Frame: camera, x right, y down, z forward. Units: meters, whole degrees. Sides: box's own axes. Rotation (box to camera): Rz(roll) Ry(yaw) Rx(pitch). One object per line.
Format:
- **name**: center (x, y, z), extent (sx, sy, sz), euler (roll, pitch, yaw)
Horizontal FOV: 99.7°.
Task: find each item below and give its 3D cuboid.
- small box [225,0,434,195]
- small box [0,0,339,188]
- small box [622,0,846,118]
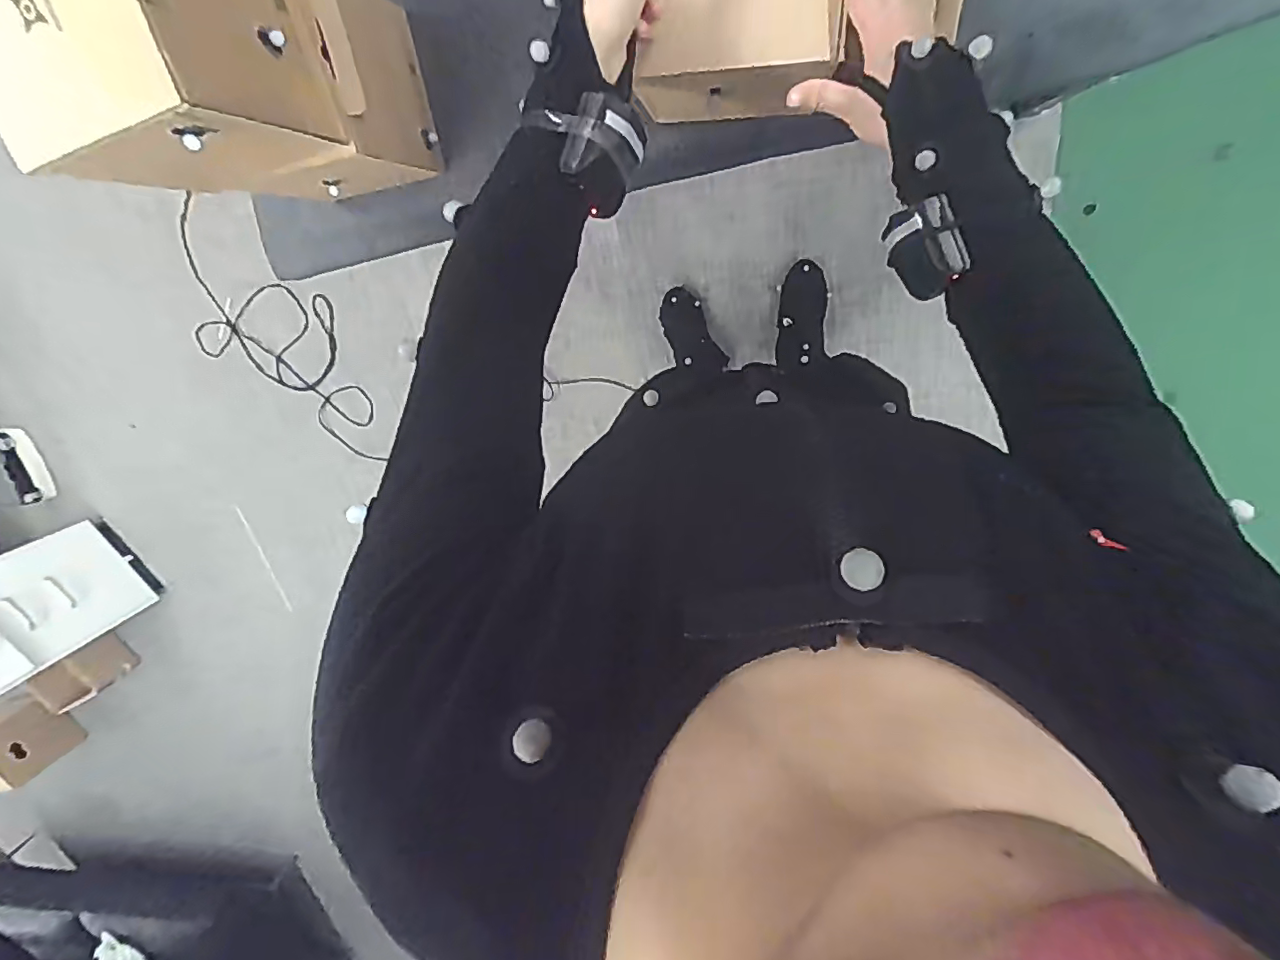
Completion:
- **small box**: center (-0.350, -0.418, 0.585), extent (0.179, 0.176, 0.168), euler (-4, 113, 15)
- **small box**: center (-0.398, -0.355, 0.443), extent (0.179, 0.176, 0.168), euler (-9, 111, 16)
- **small box**: center (0.086, -0.438, 0.480), extent (0.179, 0.176, 0.168), euler (3, 114, 10)
